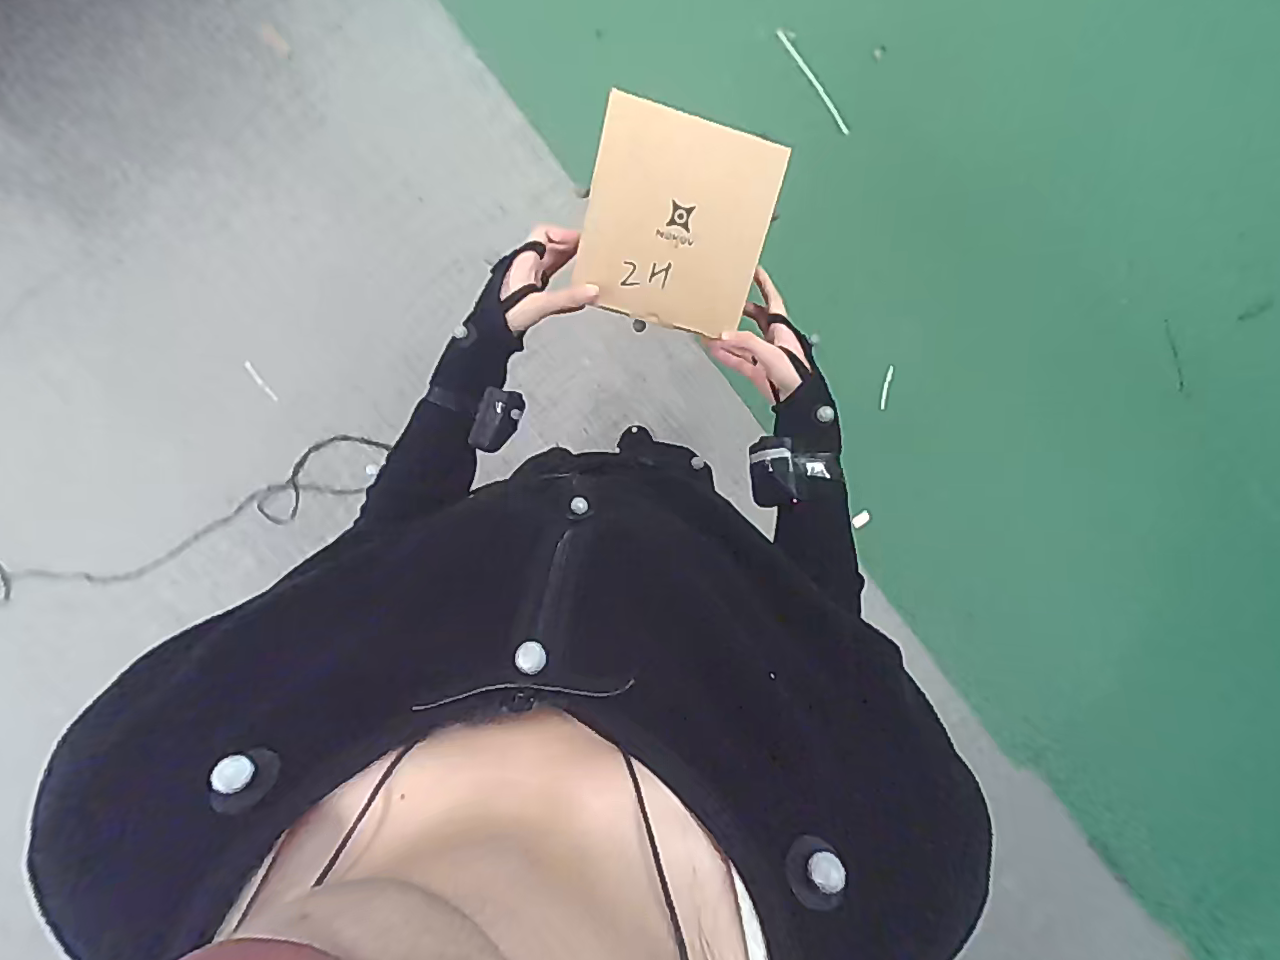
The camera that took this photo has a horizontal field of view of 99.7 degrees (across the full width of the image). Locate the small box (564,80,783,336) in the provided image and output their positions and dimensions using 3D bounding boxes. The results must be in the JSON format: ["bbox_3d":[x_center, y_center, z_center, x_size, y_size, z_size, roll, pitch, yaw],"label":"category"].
[{"bbox_3d":[0.020,-0.260,0.558,0.168,0.176,0.179,12,107,-8],"label":"small box"}]
